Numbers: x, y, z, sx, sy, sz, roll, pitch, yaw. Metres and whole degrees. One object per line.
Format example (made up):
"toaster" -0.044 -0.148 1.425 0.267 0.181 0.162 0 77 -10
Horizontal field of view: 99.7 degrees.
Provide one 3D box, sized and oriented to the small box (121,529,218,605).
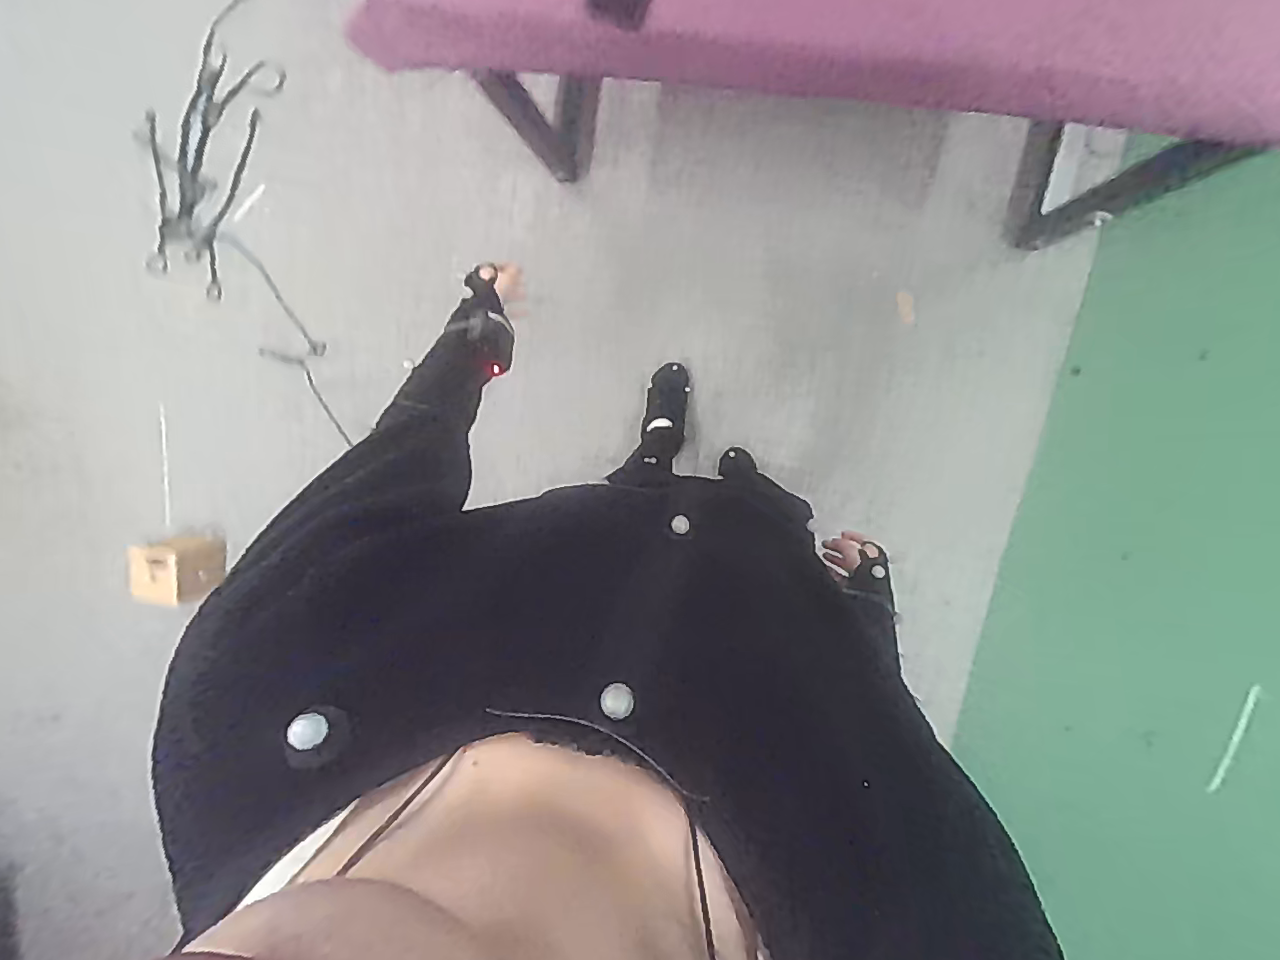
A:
"small box" -1.467 0.265 1.694 0.168 0.176 0.179 10 102 7
